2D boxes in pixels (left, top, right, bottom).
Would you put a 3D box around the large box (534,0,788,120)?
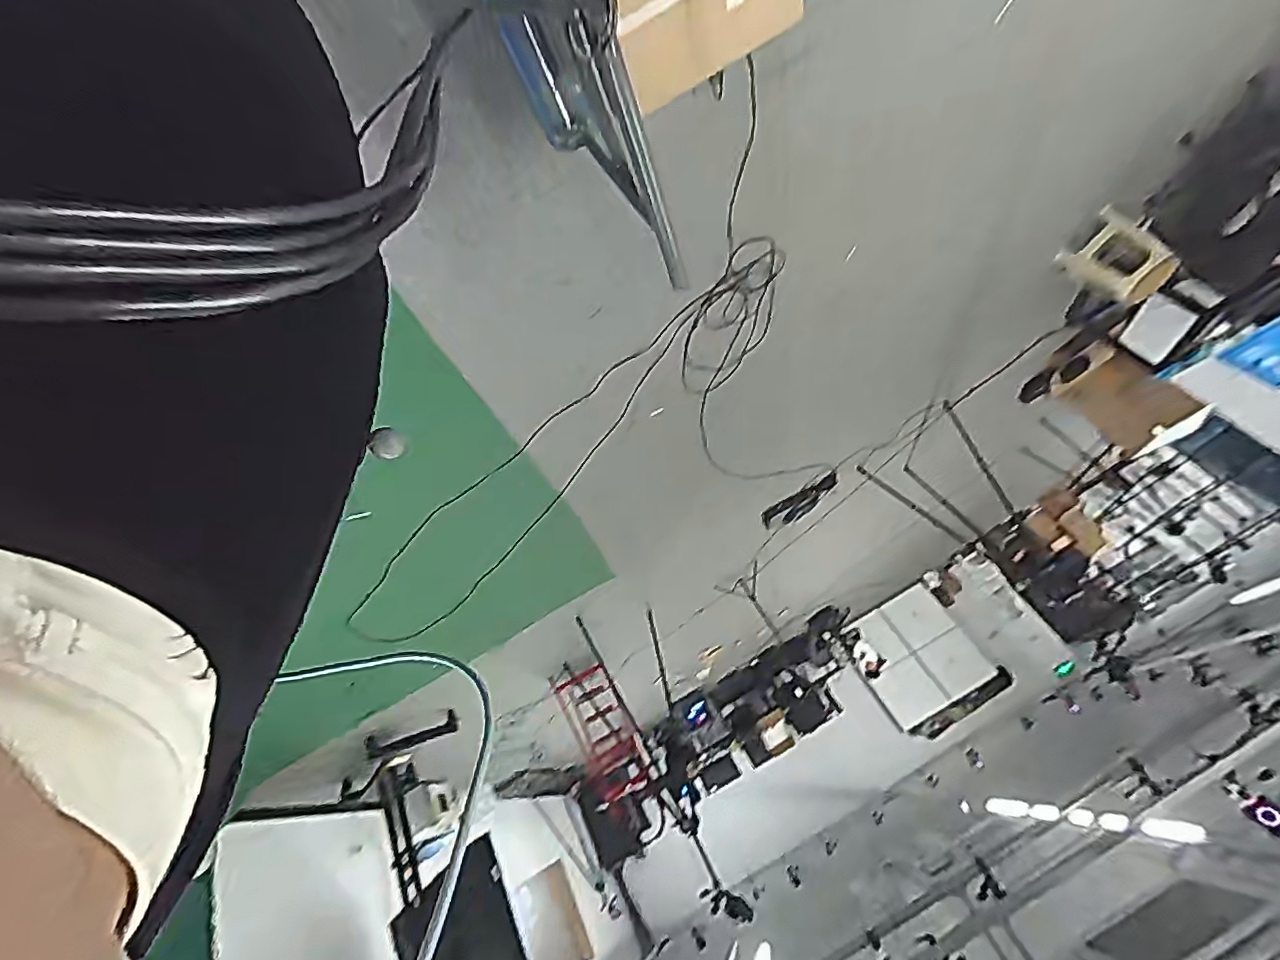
[{"bbox_3d":[0.010,-0.979,1.005,0.408,0.320,0.320,-33,149,-1],"label":"large box"}]
